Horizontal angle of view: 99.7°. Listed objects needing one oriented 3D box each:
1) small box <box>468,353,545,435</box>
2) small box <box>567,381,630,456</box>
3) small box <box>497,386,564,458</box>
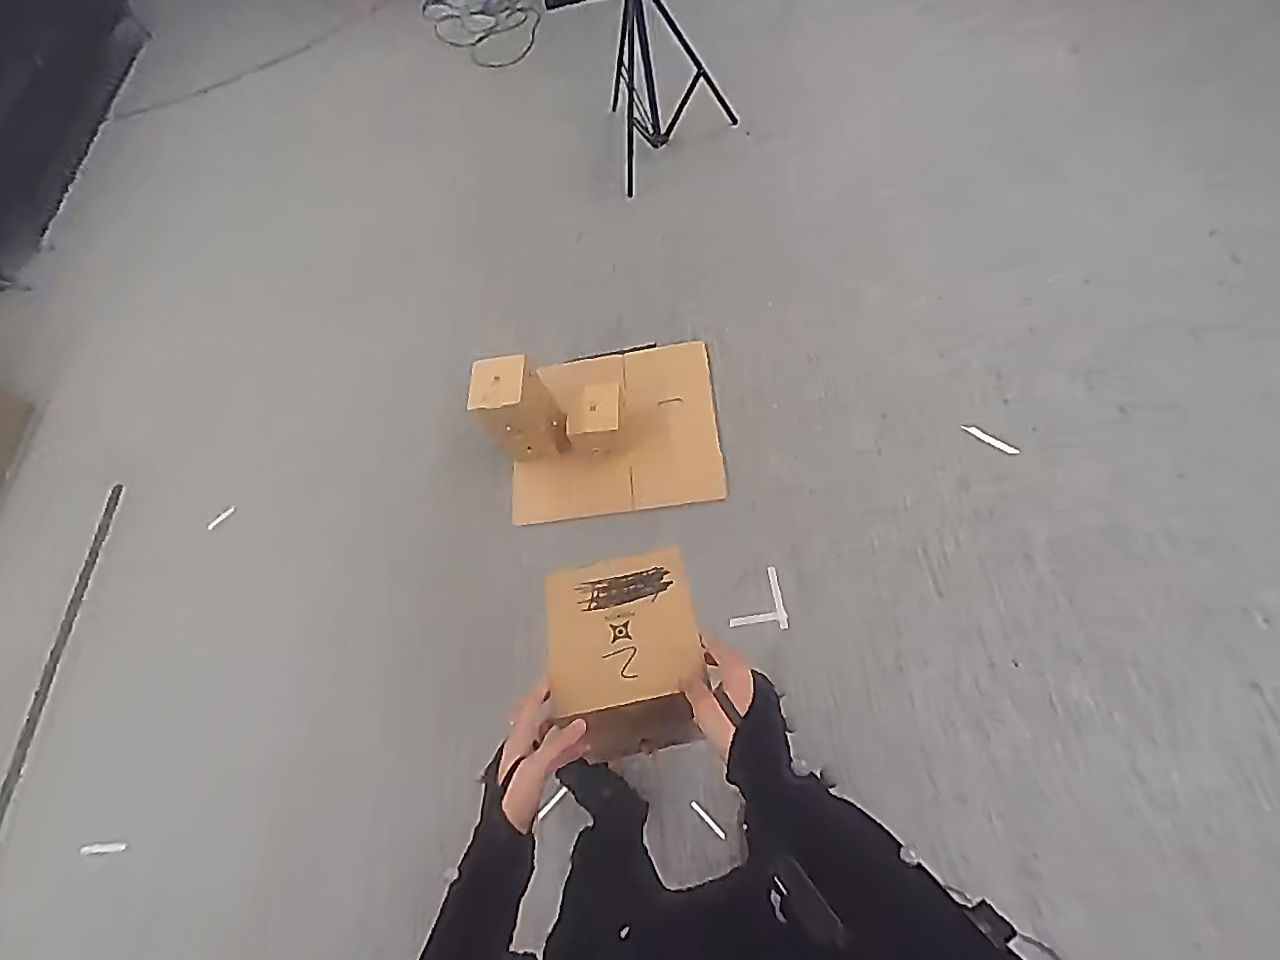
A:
[{"bbox_3d":[-0.395,-0.255,1.634,0.168,0.176,0.179,-5,66,10],"label":"small box"},{"bbox_3d":[-0.128,-0.193,1.738,0.168,0.176,0.179,-4,65,9],"label":"small box"},{"bbox_3d":[-0.355,-0.183,1.778,0.168,0.176,0.179,-6,66,9],"label":"small box"}]
